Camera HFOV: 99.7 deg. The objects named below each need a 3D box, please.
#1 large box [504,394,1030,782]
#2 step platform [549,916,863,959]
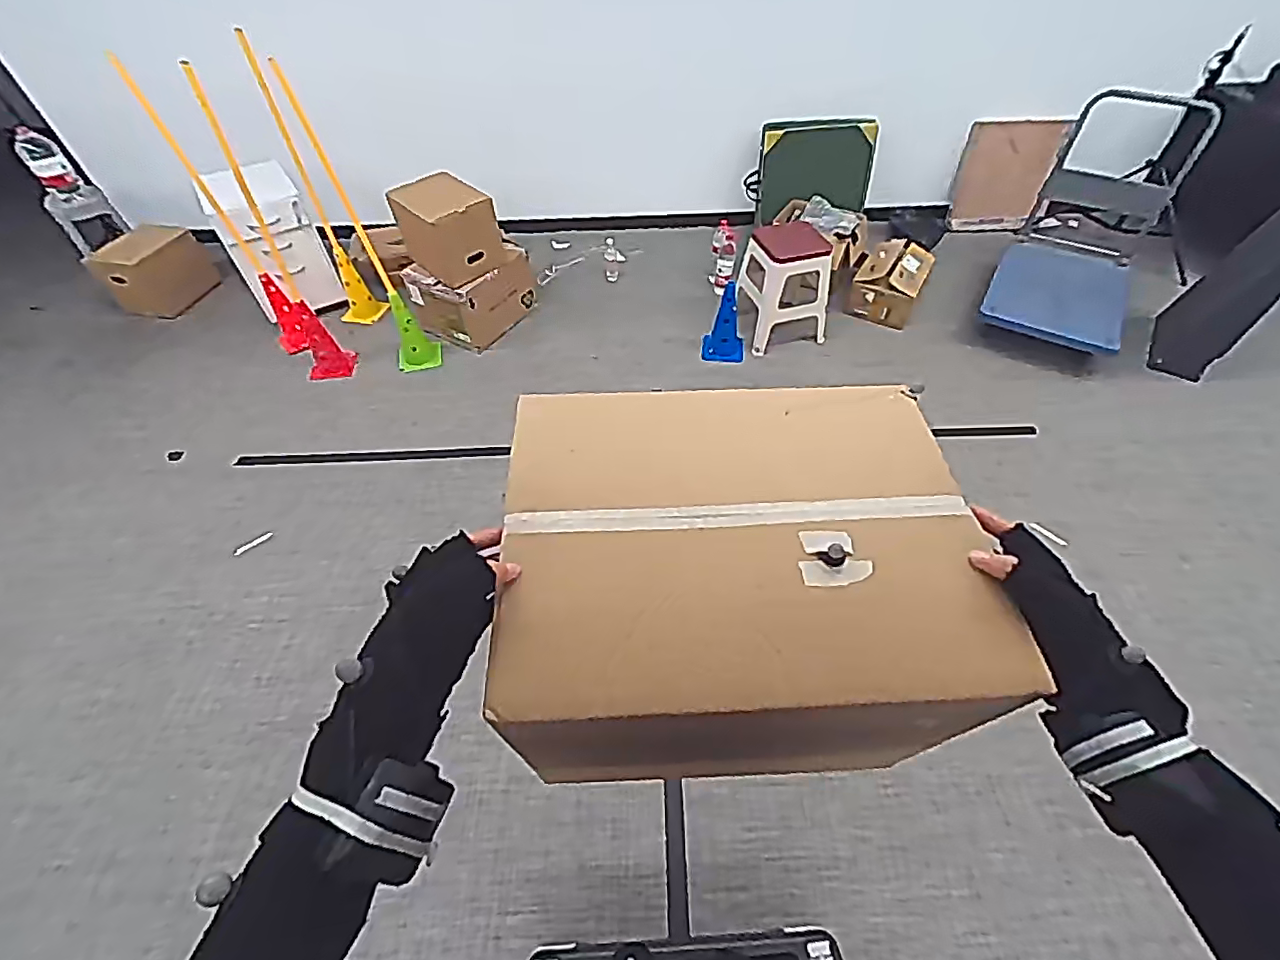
[{"bbox_3d":[0.085,0.127,0.601,0.408,0.320,0.320,-2,54,-3],"label":"large box"},{"bbox_3d":[0.139,1.110,1.115,0.684,0.204,0.286,-3,50,-2],"label":"step platform"}]
